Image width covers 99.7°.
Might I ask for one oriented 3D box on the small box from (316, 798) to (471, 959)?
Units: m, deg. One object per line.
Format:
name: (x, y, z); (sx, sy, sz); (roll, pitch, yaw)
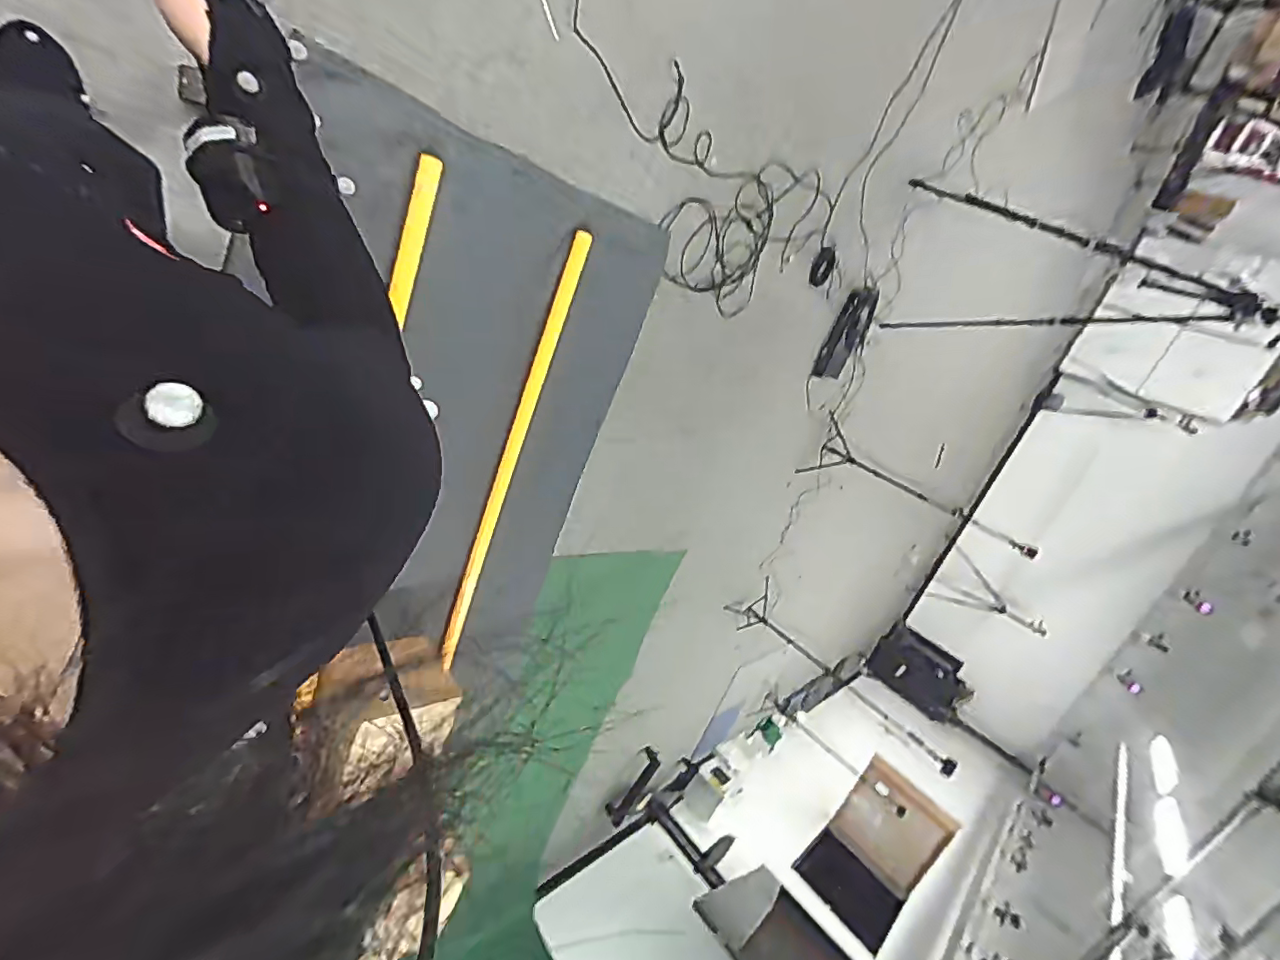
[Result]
small box: (-0.421, 0.677, 0.913); (0.168, 0.176, 0.179); (9, 112, -49)

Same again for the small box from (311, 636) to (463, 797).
small box: (-0.446, 0.398, 0.944); (0.179, 0.176, 0.168); (5, 114, -49)
